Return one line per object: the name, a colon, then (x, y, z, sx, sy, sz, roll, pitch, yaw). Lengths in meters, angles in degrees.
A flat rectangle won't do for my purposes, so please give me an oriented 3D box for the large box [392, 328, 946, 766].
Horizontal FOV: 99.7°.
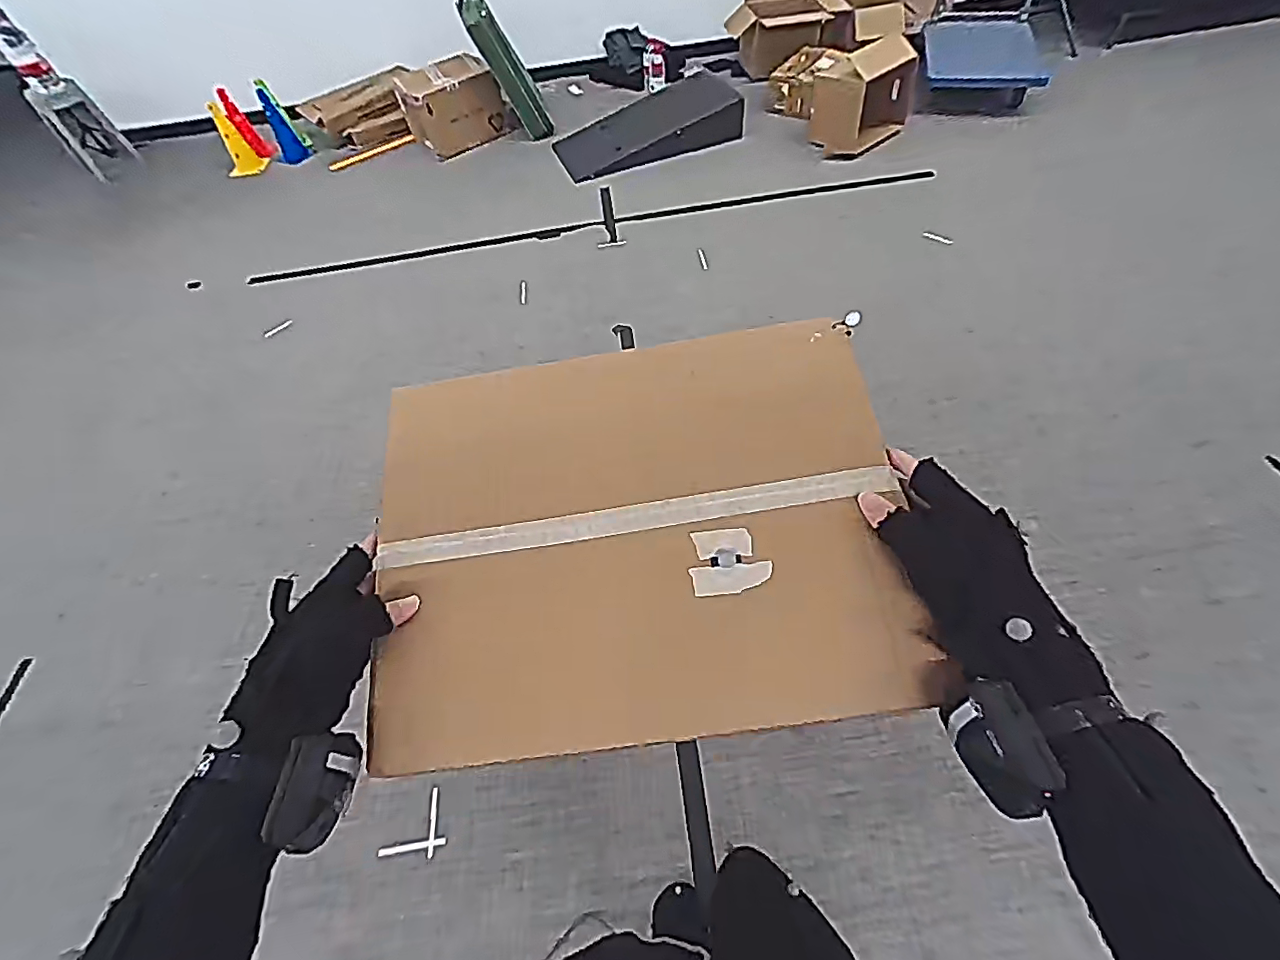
large box: (0.011, 0.090, 0.572, 0.408, 0.320, 0.320, -9, 68, 3)
